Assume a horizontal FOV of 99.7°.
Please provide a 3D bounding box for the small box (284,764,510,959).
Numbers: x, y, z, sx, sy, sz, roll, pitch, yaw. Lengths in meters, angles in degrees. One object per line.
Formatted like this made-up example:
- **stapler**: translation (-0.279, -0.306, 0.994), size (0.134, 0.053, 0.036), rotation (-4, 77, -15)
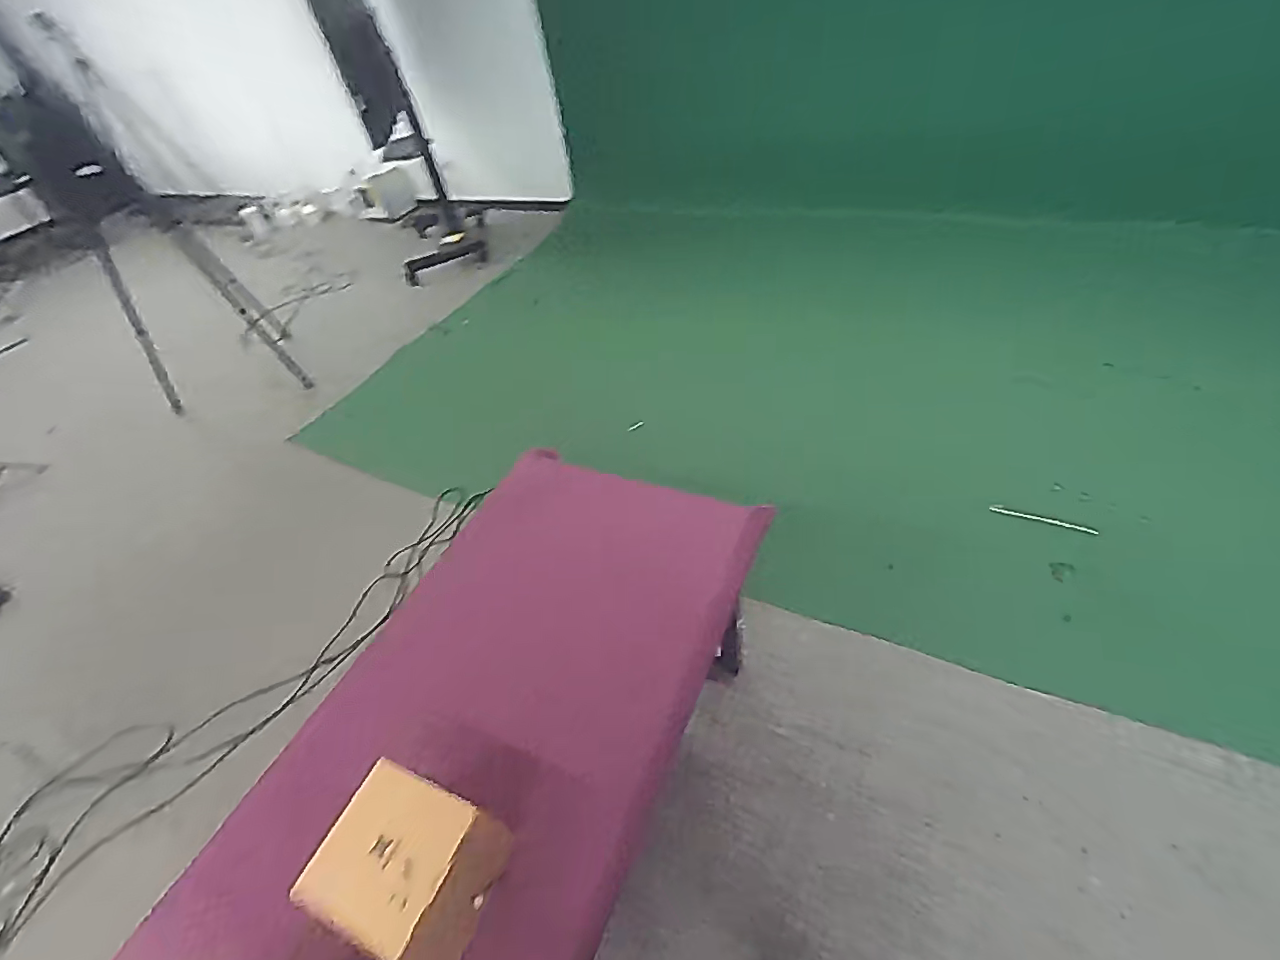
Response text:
- **small box**: translation (-0.305, 0.515, 0.714), size (0.179, 0.176, 0.168), rotation (12, 50, 22)
